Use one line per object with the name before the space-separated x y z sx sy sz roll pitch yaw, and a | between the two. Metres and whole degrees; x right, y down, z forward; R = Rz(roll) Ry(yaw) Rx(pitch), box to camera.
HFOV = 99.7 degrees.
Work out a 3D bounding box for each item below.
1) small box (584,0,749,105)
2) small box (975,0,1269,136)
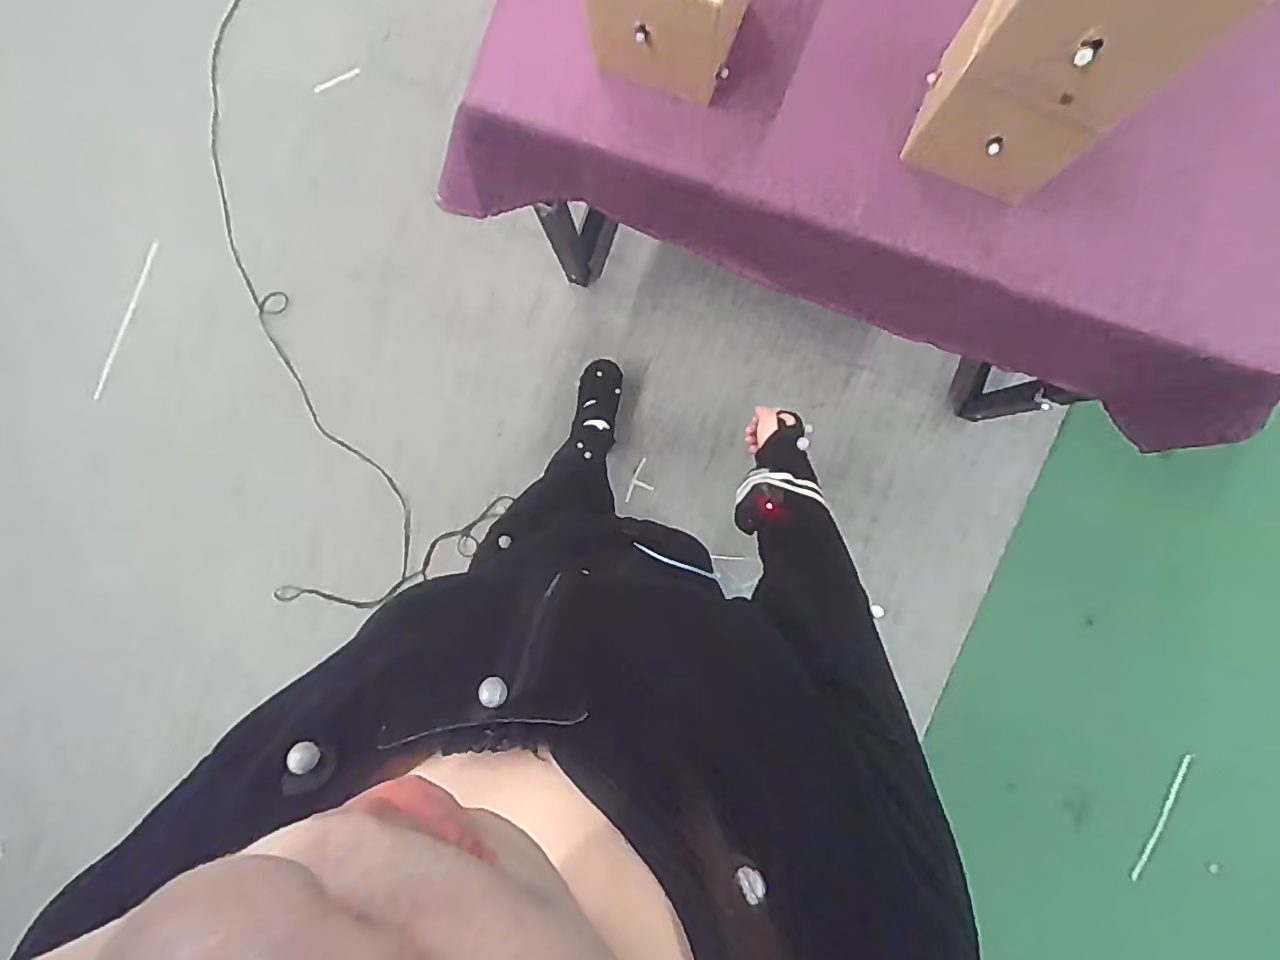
small box | 0.042 -0.624 0.685 0.179 0.176 0.168 22 90 2
small box | 0.459 -0.475 0.508 0.168 0.176 0.179 26 91 2
